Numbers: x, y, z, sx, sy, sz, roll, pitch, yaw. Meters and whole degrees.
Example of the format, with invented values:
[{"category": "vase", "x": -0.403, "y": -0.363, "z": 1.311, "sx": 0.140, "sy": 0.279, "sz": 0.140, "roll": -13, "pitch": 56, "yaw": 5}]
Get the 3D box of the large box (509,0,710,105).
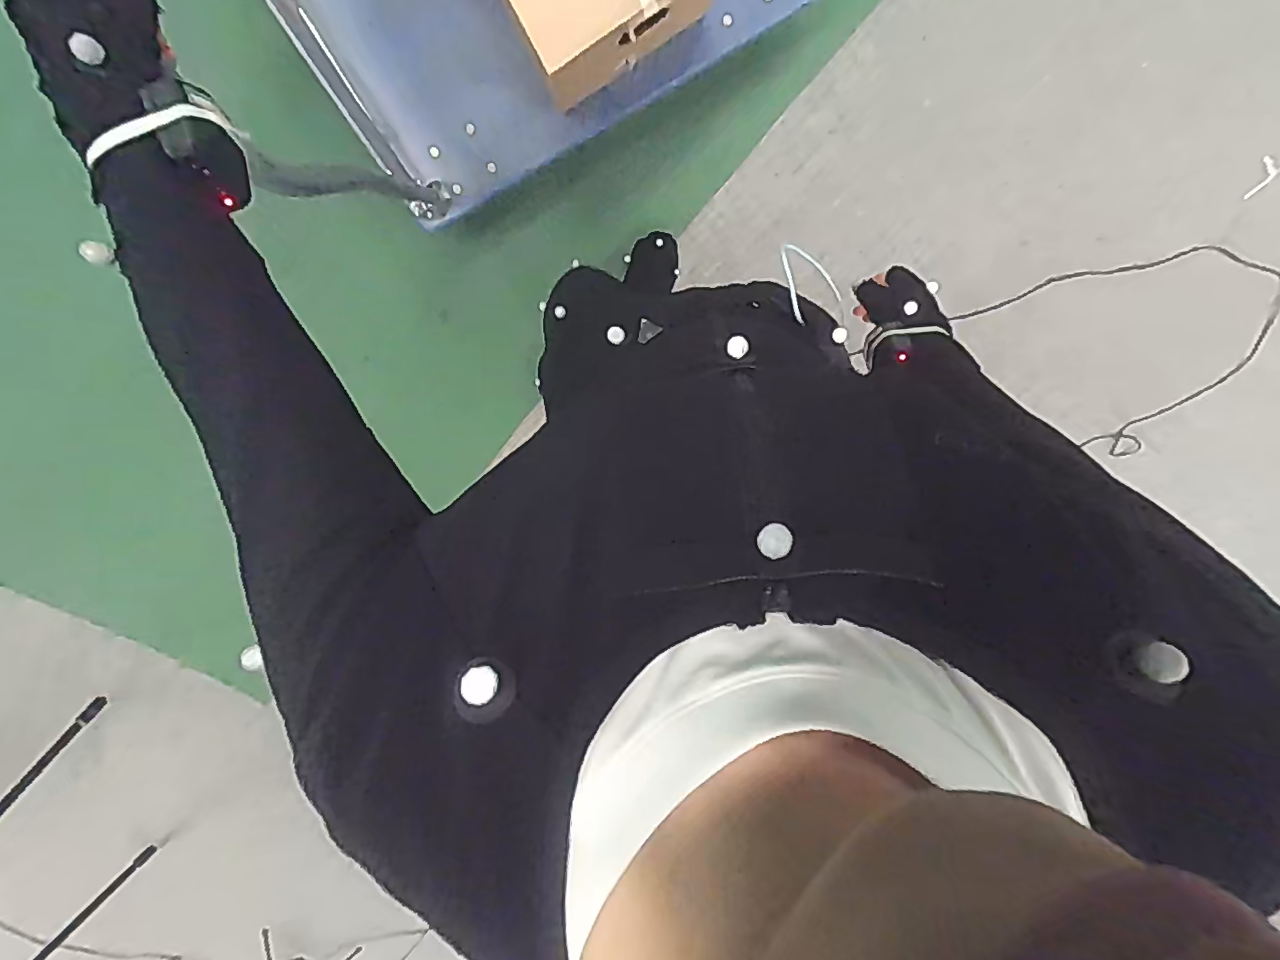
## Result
[{"category": "large box", "x": -0.098, "y": -0.853, "z": 0.772, "sx": 0.320, "sy": 0.320, "sz": 0.408, "roll": -29, "pitch": 114, "yaw": 9}]
